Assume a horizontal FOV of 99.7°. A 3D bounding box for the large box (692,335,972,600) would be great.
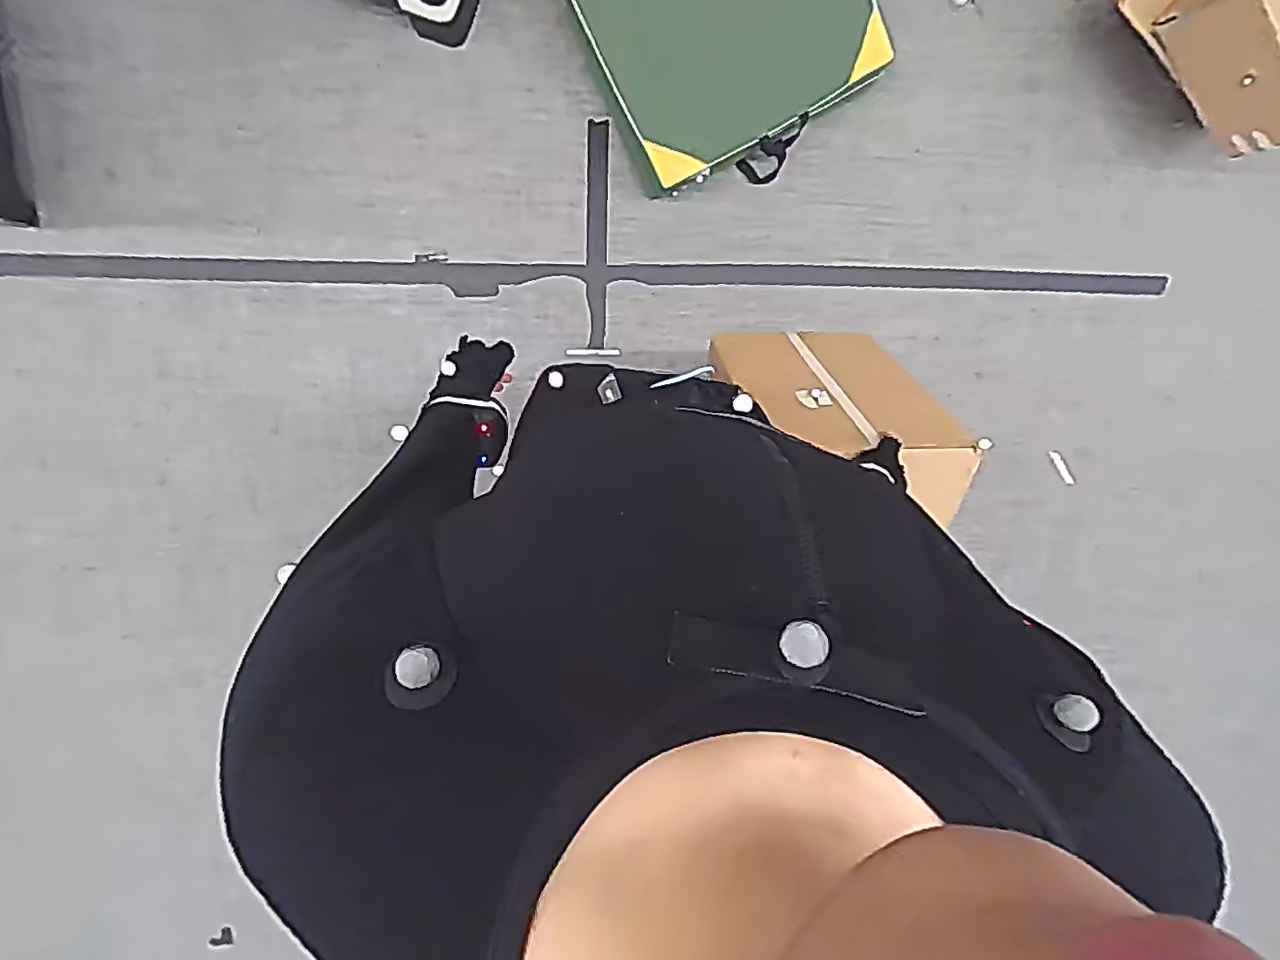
[{"bbox_3d":[0.292,-0.039,0.991,0.320,0.408,0.320,-3,128,-5],"label":"large box"}]
